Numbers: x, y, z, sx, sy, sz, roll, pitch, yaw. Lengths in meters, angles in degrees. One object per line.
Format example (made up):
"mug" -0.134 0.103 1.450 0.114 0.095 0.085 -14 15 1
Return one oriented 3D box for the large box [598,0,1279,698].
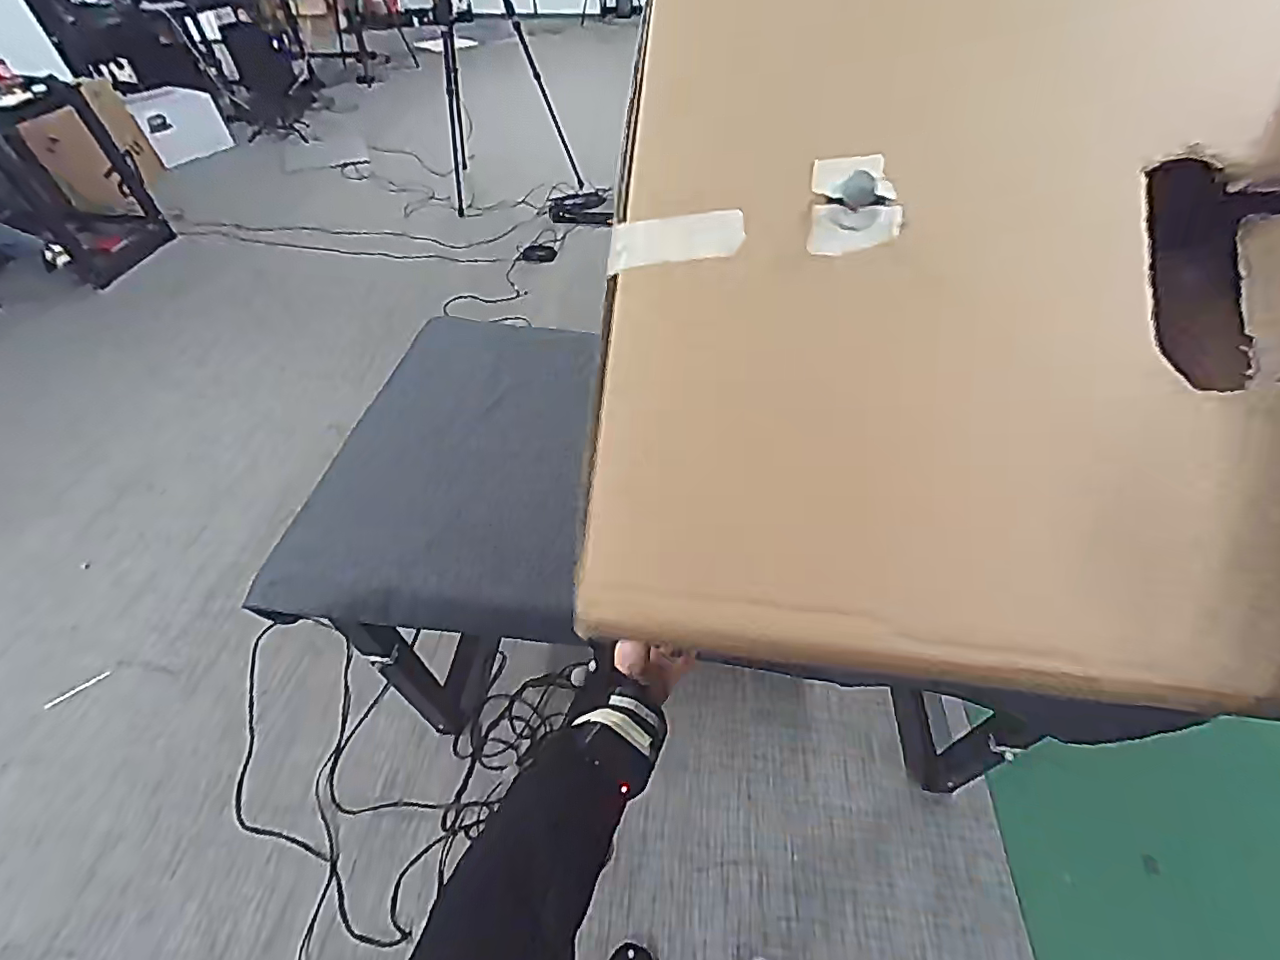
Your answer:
"large box" 0.157 -0.046 0.411 0.320 0.408 0.320 4 80 5
